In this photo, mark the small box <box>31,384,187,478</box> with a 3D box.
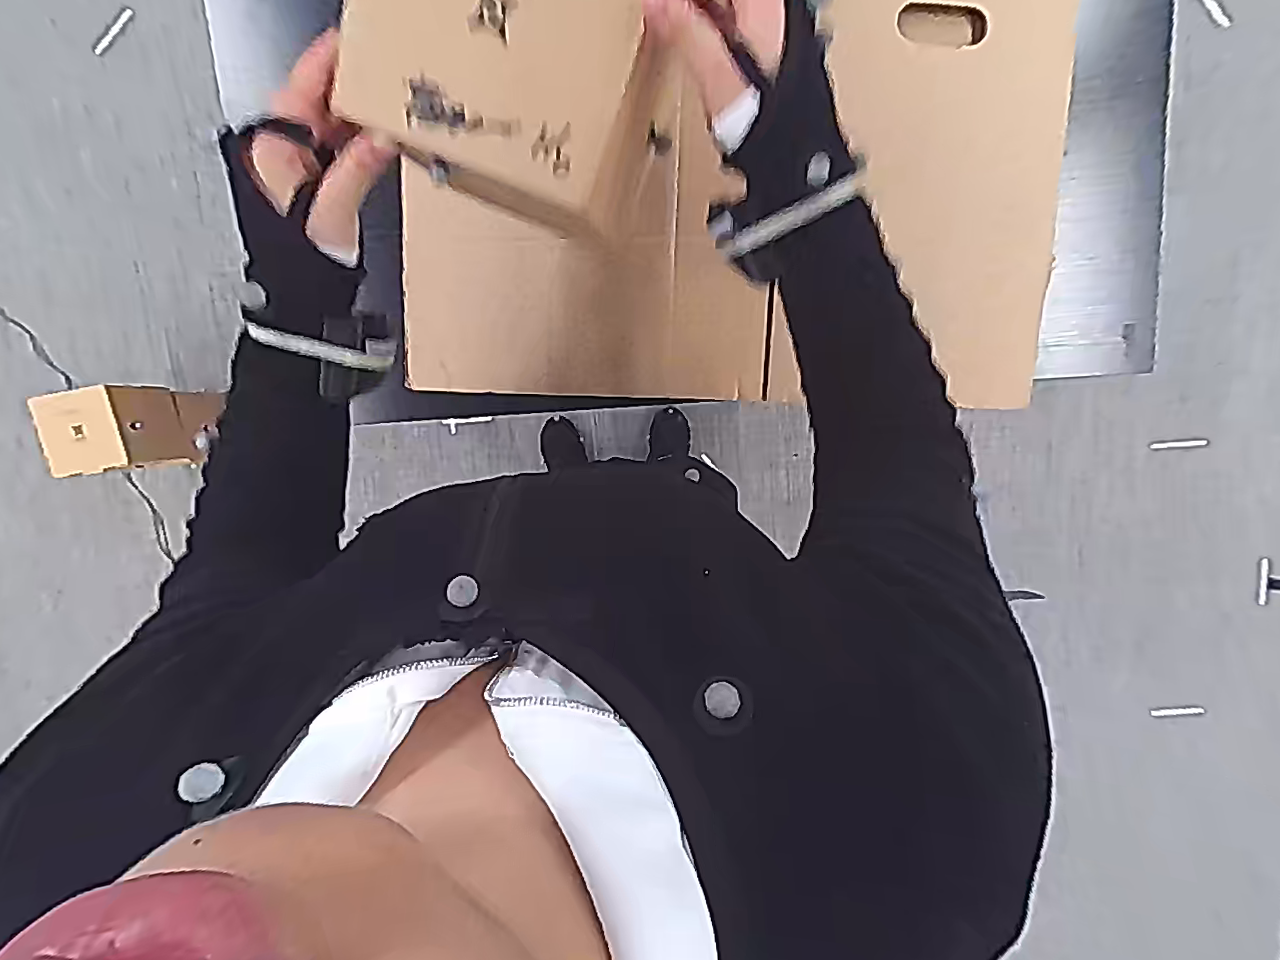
[{"bbox_3d":[-1.179,-0.113,1.218,0.168,0.176,0.179,-11,96,0],"label":"small box"}]

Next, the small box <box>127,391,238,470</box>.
[{"bbox_3d":[-1.179,-0.128,1.379,0.168,0.176,0.179,-8,98,0],"label":"small box"}]

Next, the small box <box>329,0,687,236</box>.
[{"bbox_3d":[-0.070,-0.297,0.373,0.168,0.176,0.179,21,104,0],"label":"small box"}]
